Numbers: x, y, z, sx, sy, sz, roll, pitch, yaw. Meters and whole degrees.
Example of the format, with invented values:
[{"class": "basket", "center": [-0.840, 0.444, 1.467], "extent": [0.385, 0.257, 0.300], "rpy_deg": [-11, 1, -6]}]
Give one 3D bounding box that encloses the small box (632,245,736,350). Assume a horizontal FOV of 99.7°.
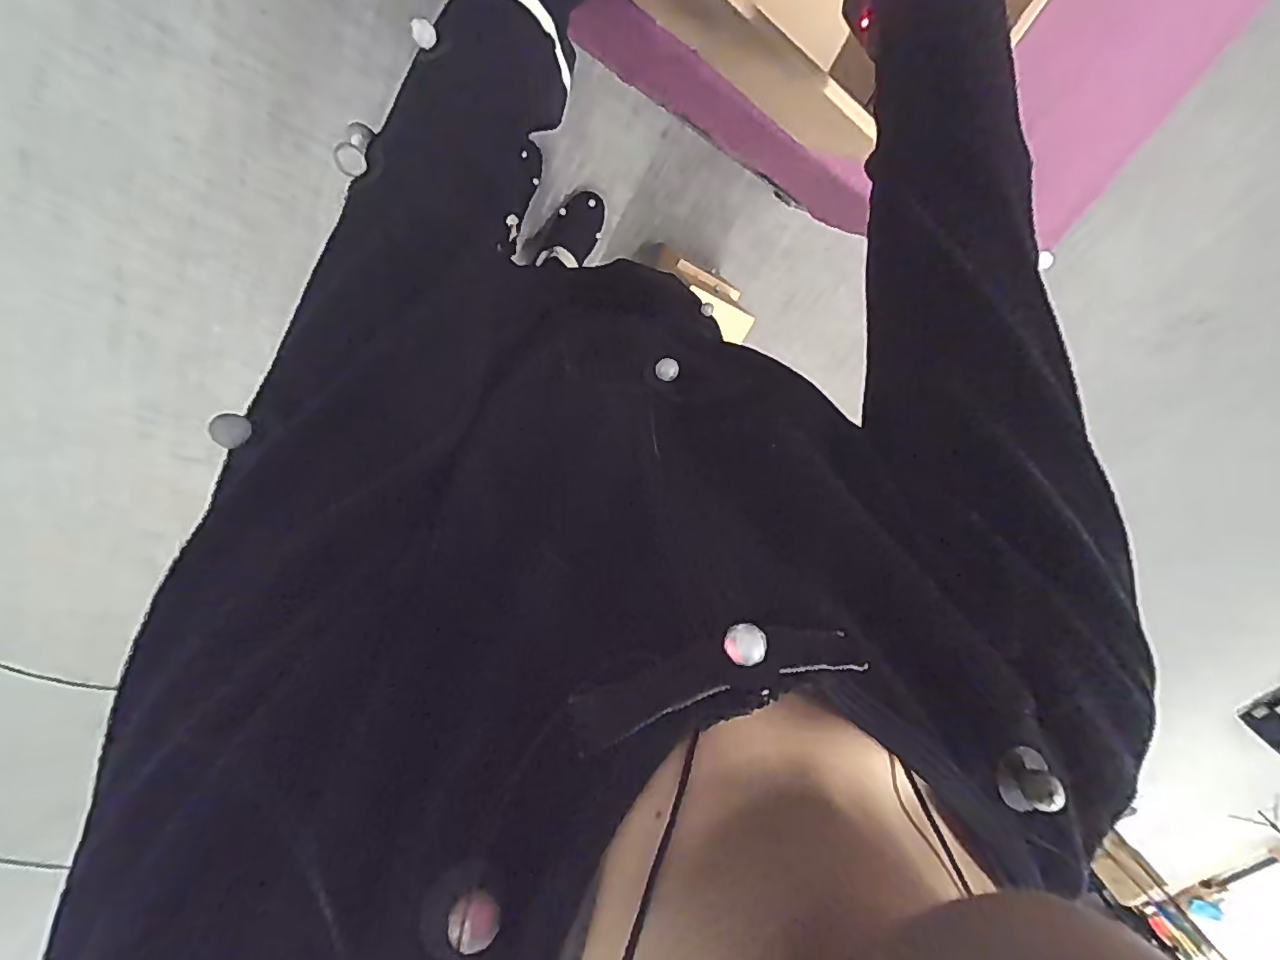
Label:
[{"class": "small box", "center": [0.102, -0.455, 1.334], "extent": [0.179, 0.176, 0.168], "rpy_deg": [20, 118, -24]}]
